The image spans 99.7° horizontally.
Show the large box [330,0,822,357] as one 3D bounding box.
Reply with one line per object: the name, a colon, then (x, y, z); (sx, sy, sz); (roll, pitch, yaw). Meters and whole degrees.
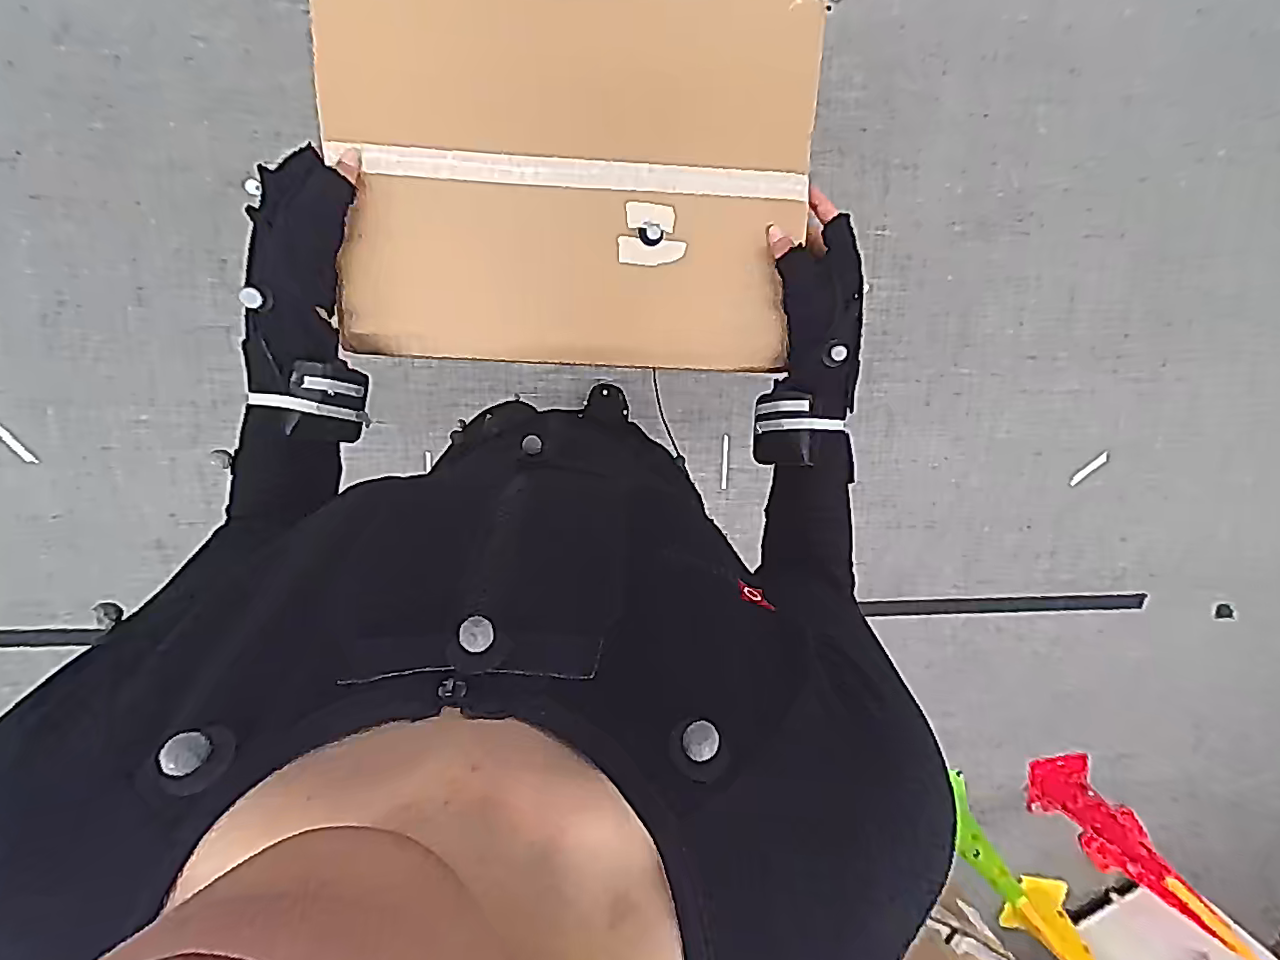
large box: (-0.062, -0.302, 0.609); (0.408, 0.320, 0.320); (1, 104, -5)
